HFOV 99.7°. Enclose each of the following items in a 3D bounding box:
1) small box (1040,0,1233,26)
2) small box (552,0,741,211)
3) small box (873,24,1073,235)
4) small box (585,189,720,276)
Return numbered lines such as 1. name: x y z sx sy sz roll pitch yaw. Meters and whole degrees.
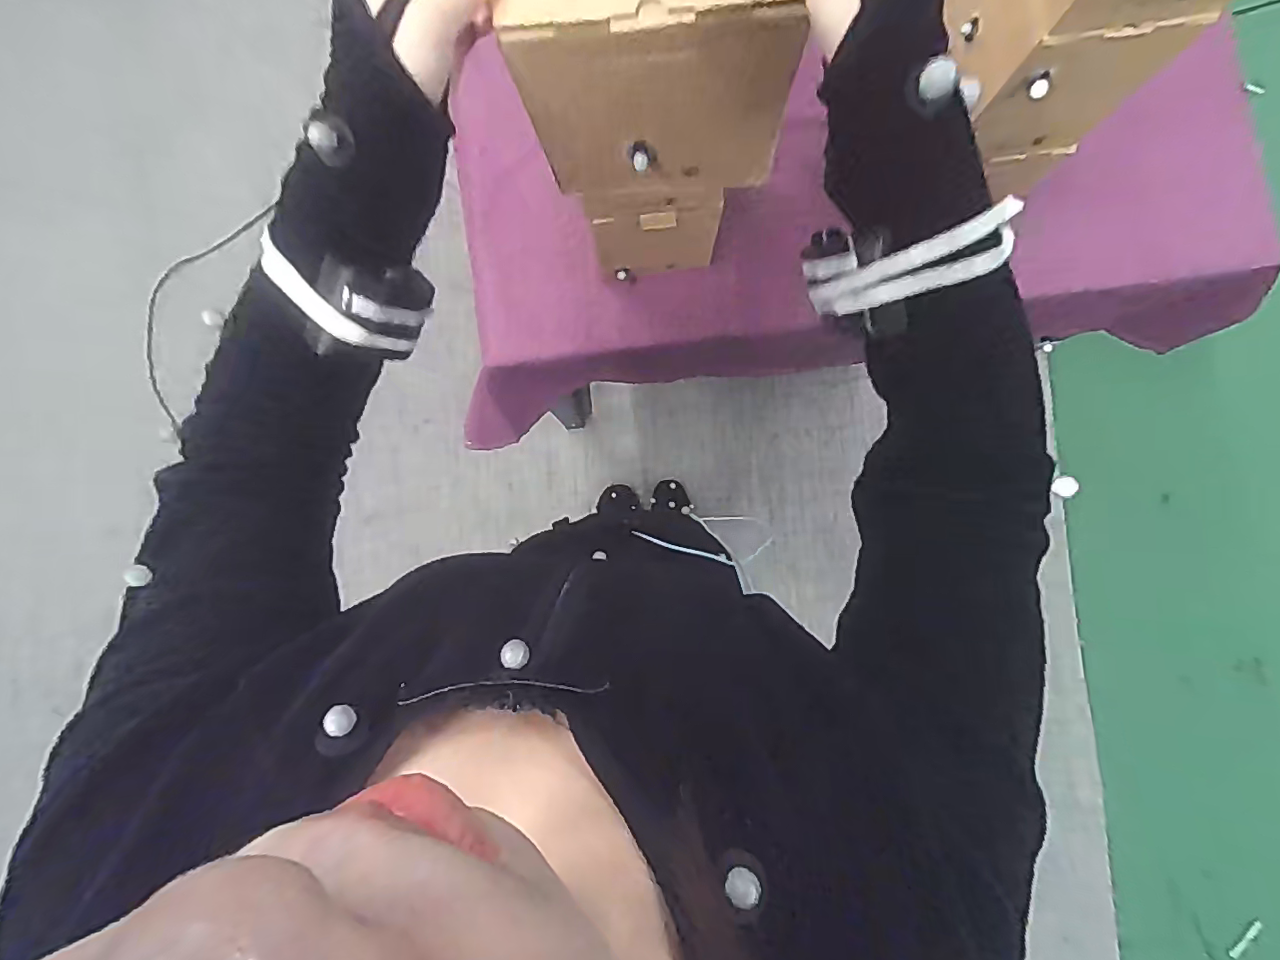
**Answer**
1. small box: 0.432 -0.494 0.412 0.168 0.176 0.179 -8 85 -1
2. small box: 0.005 -0.408 0.573 0.168 0.176 0.179 -6 87 -1
3. small box: 0.437 -0.465 0.739 0.168 0.176 0.179 -5 87 0
4. small box: 0.008 -0.397 0.737 0.168 0.176 0.179 -8 86 -1
